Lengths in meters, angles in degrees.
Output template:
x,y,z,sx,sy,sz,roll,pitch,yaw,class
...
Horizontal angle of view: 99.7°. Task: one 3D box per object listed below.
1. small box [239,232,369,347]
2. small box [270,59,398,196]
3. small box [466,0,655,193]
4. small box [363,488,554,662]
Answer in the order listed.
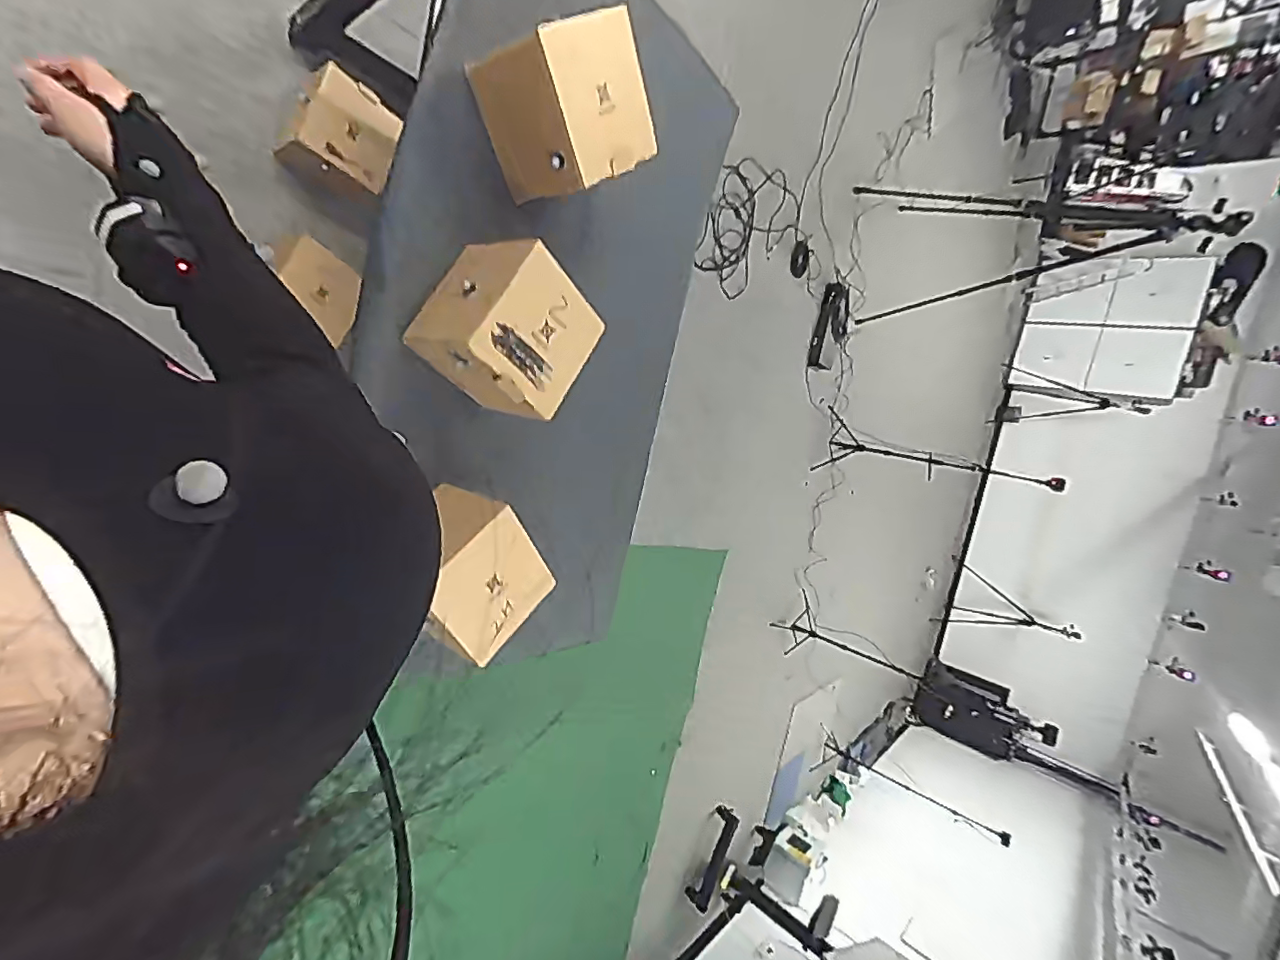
x,y,z,sx,sy,sz,roll,pitch,yaw,class
-0.749,-0.416,1.198,0.168,0.176,0.179,37,72,-50,small box
-0.668,-0.753,1.177,0.168,0.176,0.179,25,83,-50,small box
-0.110,-0.529,0.760,0.168,0.176,0.179,-45,133,-31,small box
-0.264,0.127,0.795,0.168,0.176,0.179,-48,135,-31,small box
